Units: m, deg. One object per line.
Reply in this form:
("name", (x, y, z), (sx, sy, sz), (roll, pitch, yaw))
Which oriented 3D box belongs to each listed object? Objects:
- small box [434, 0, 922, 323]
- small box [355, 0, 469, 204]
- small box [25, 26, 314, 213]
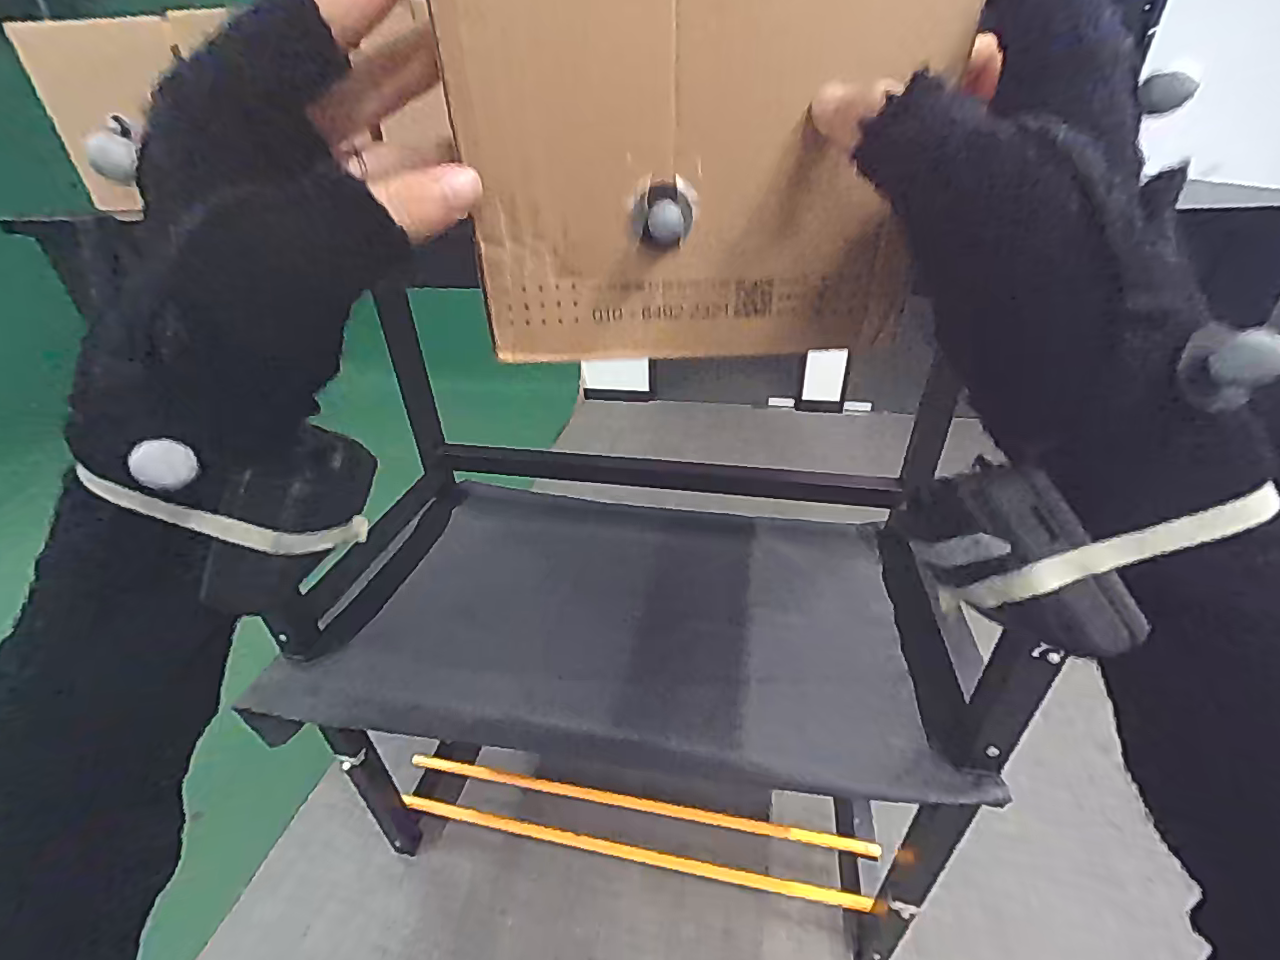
("small box", (0.008, -0.184, 0.256), (0.168, 0.176, 0.179), (-3, 36, -1))
("small box", (-0.161, -0.398, 0.588), (0.168, 0.176, 0.179), (6, 32, 13))
("small box", (-0.537, -0.424, 0.654), (0.168, 0.176, 0.179), (2, 32, 4))
